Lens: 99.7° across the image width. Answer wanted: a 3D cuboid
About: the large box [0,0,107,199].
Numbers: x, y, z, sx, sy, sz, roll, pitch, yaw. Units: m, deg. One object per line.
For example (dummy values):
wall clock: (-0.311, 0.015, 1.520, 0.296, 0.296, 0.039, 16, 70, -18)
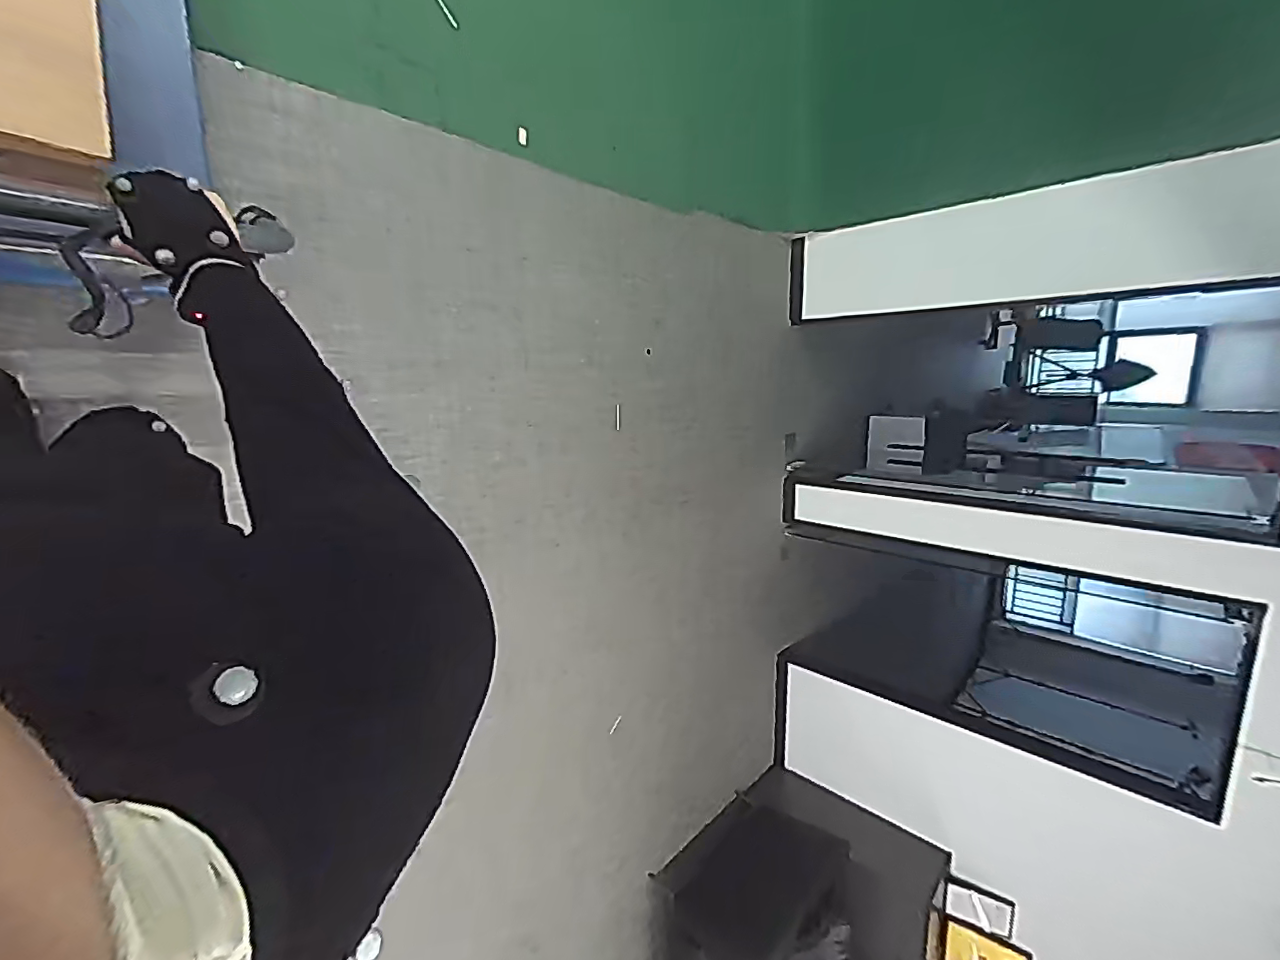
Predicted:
large box: (-0.991, -0.675, 0.756, 0.320, 0.320, 0.408, -7, 101, -46)
